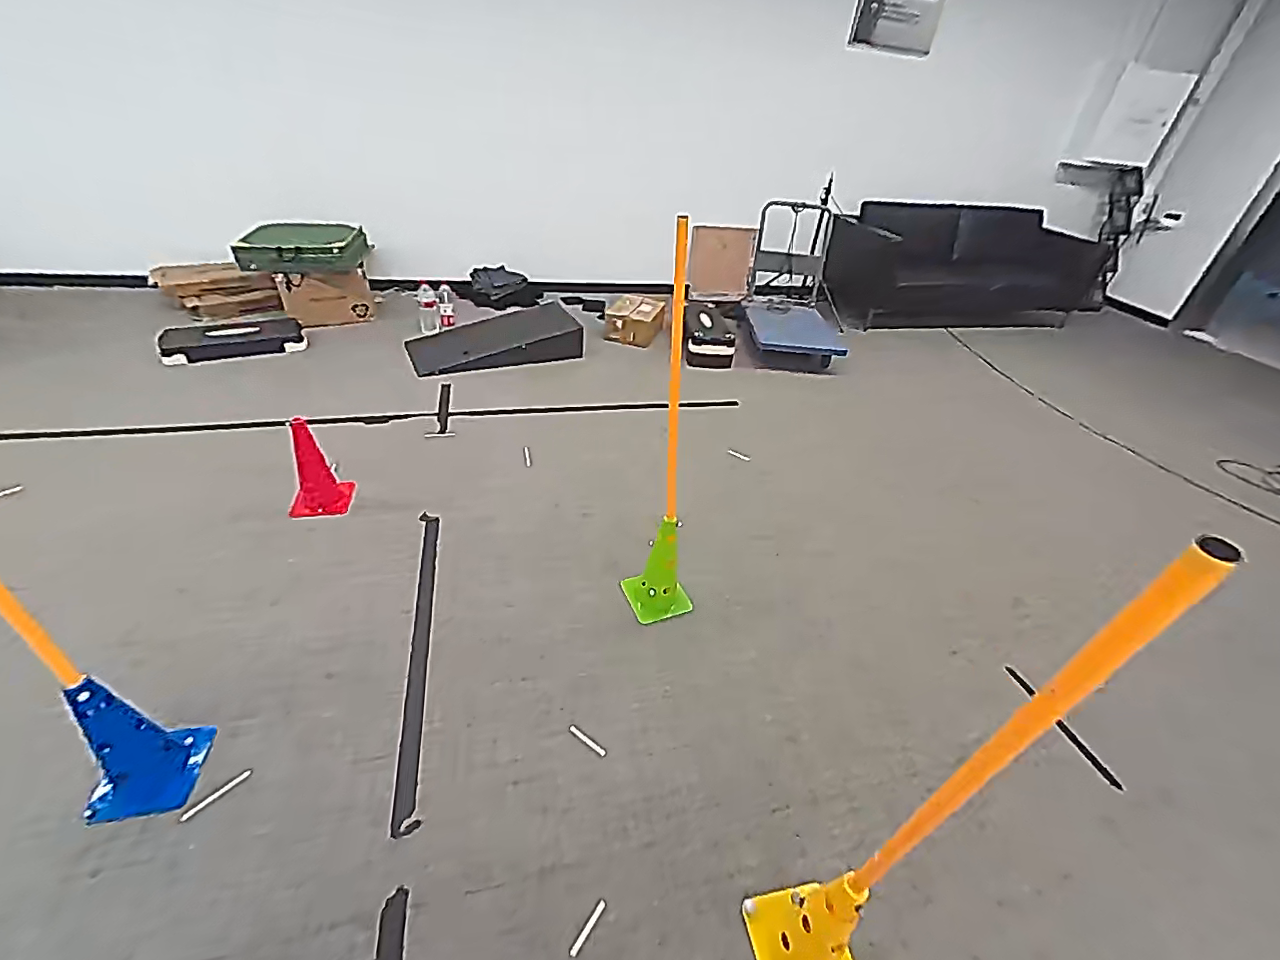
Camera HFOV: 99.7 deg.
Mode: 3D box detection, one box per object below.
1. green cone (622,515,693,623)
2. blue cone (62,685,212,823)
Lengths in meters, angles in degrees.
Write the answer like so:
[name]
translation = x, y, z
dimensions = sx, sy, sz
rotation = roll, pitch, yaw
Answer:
[green cone]
translation = 0.076, 0.258, 1.752
dimensions = 0.200, 0.368, 0.202
rotation = -11, 41, -22
[blue cone]
translation = -1.122, 0.557, 1.170
dimensions = 0.193, 0.380, 0.192
rotation = -2, 37, -12
